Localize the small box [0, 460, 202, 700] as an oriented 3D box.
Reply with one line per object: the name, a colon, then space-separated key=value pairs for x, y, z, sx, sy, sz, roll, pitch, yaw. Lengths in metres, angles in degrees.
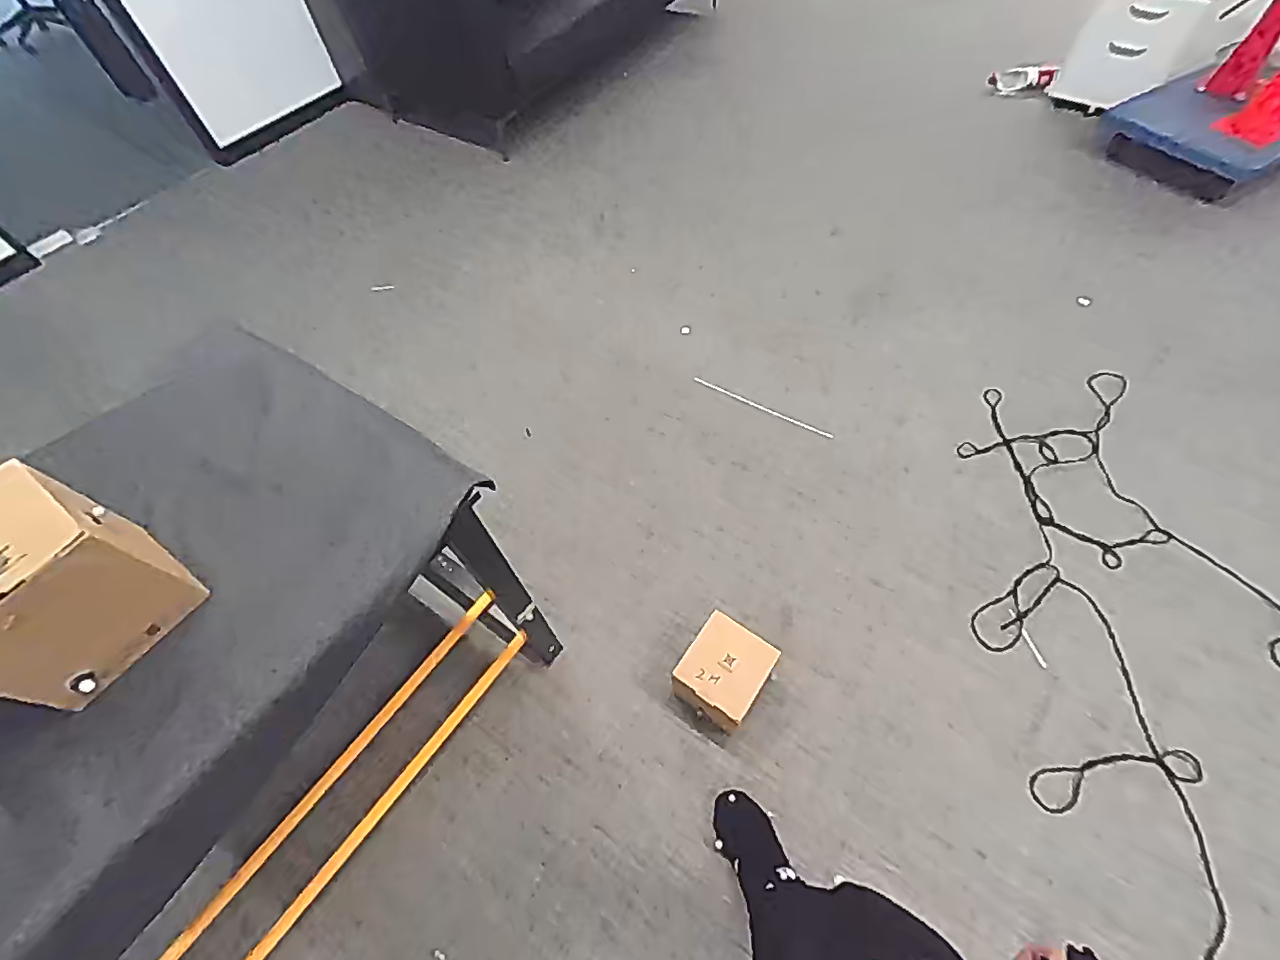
small box: x=-0.644 y=0.116 z=0.590 sx=0.179 sy=0.176 sz=0.168 roll=28 pitch=62 yaw=21

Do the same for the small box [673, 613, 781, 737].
small box: x=0.185 y=0.433 z=1.193 sx=0.168 sy=0.176 sz=0.179 roll=30 pitch=63 yaw=22
